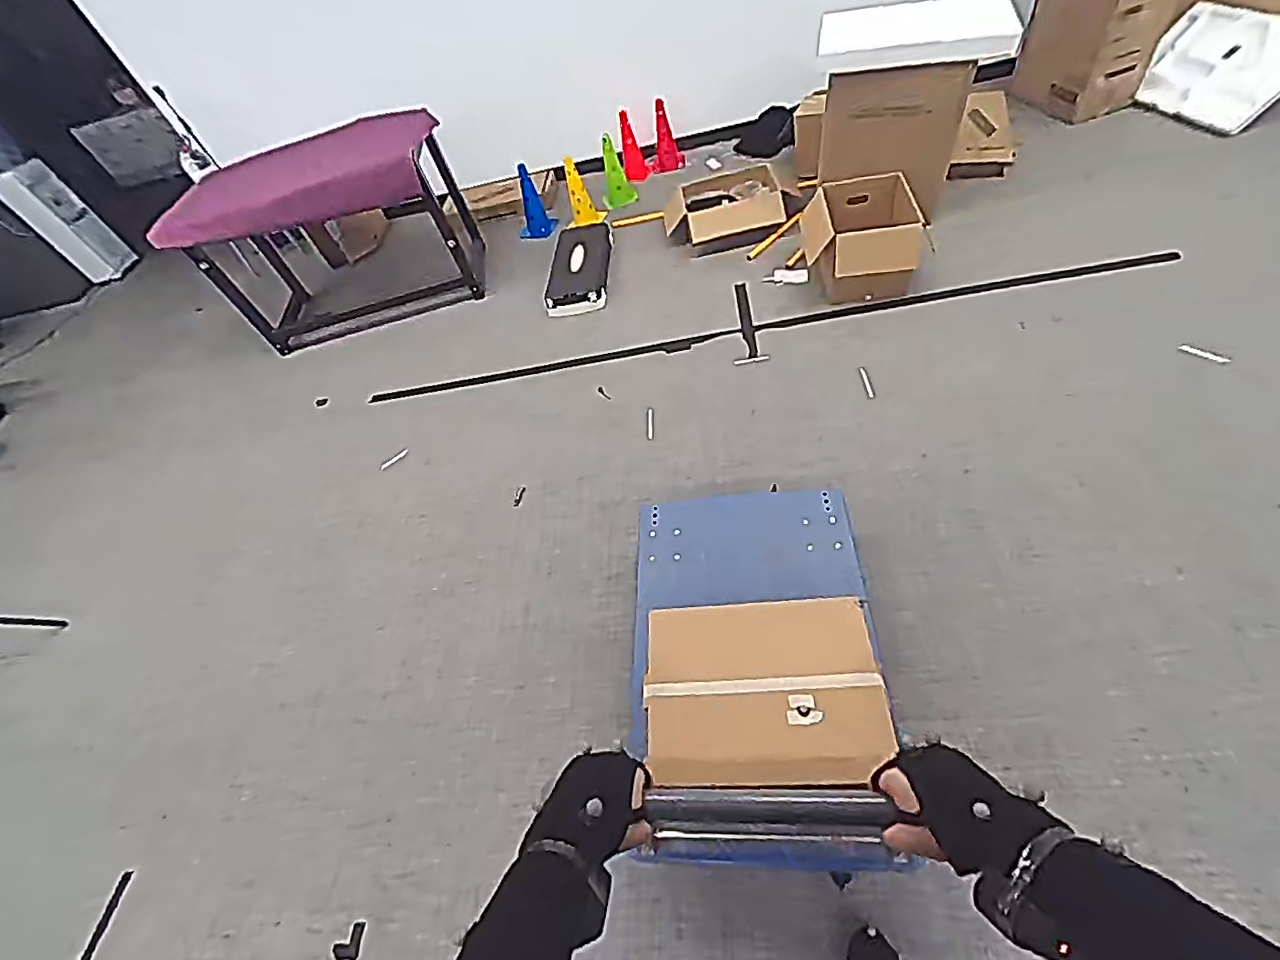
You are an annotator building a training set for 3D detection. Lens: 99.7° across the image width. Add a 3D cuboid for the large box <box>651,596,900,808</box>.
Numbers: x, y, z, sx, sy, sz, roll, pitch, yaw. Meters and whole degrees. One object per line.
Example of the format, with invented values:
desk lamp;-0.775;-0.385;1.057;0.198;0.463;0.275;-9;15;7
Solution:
large box;0.243;0.456;1.085;0.408;0.320;0.320;-6;53;9
